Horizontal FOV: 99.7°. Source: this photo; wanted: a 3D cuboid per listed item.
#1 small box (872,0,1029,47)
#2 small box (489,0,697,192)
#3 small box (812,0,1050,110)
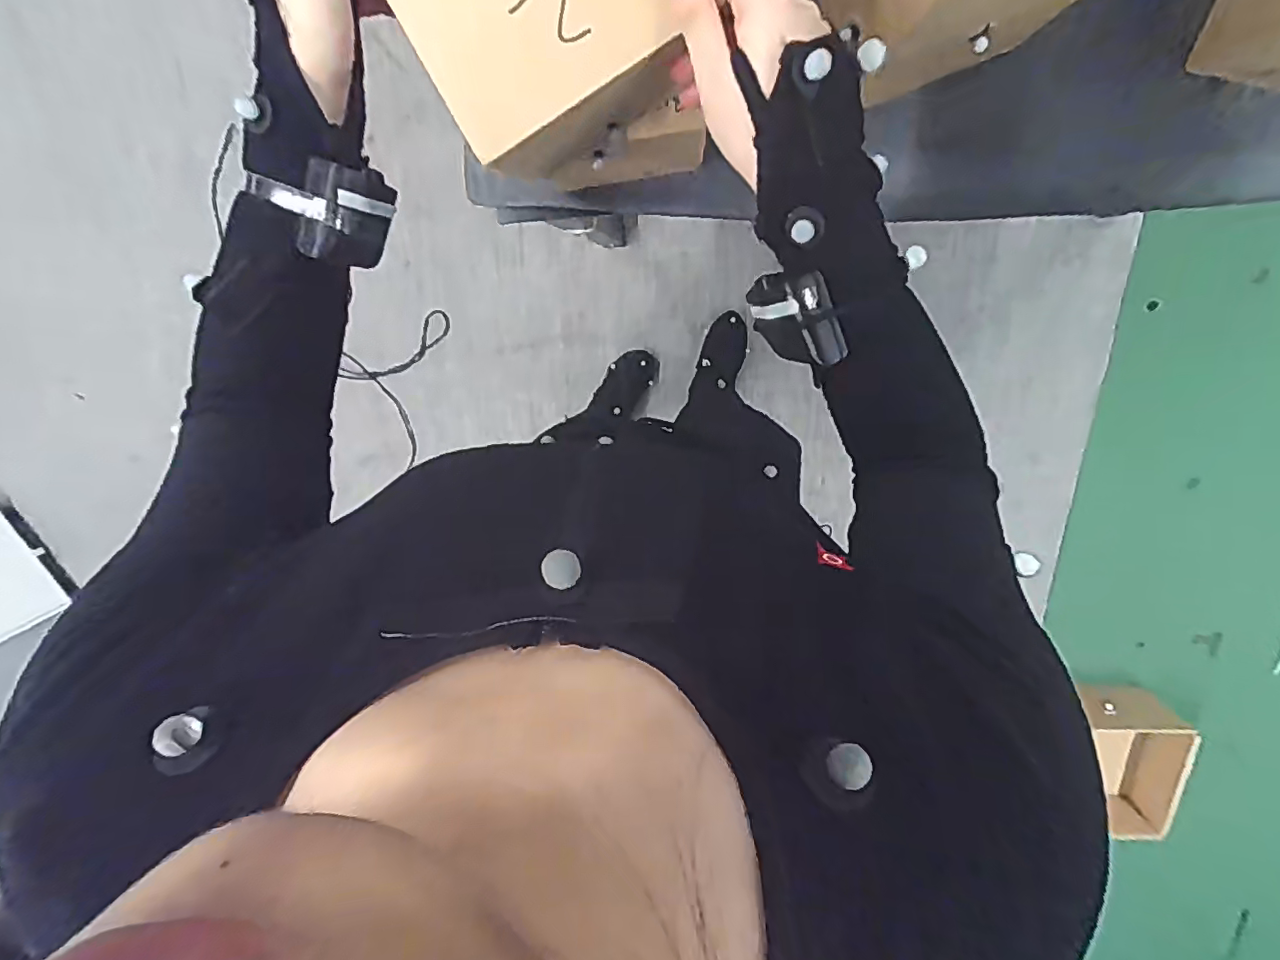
[{"bbox_3d":[0.241,-0.409,0.323,0.179,0.176,0.168,-15,108,9],"label":"small box"},{"bbox_3d":[-0.036,-0.401,0.525,0.168,0.176,0.179,-6,109,7],"label":"small box"},{"bbox_3d":[0.256,-0.467,0.477,0.179,0.176,0.168,-17,108,10],"label":"small box"}]
